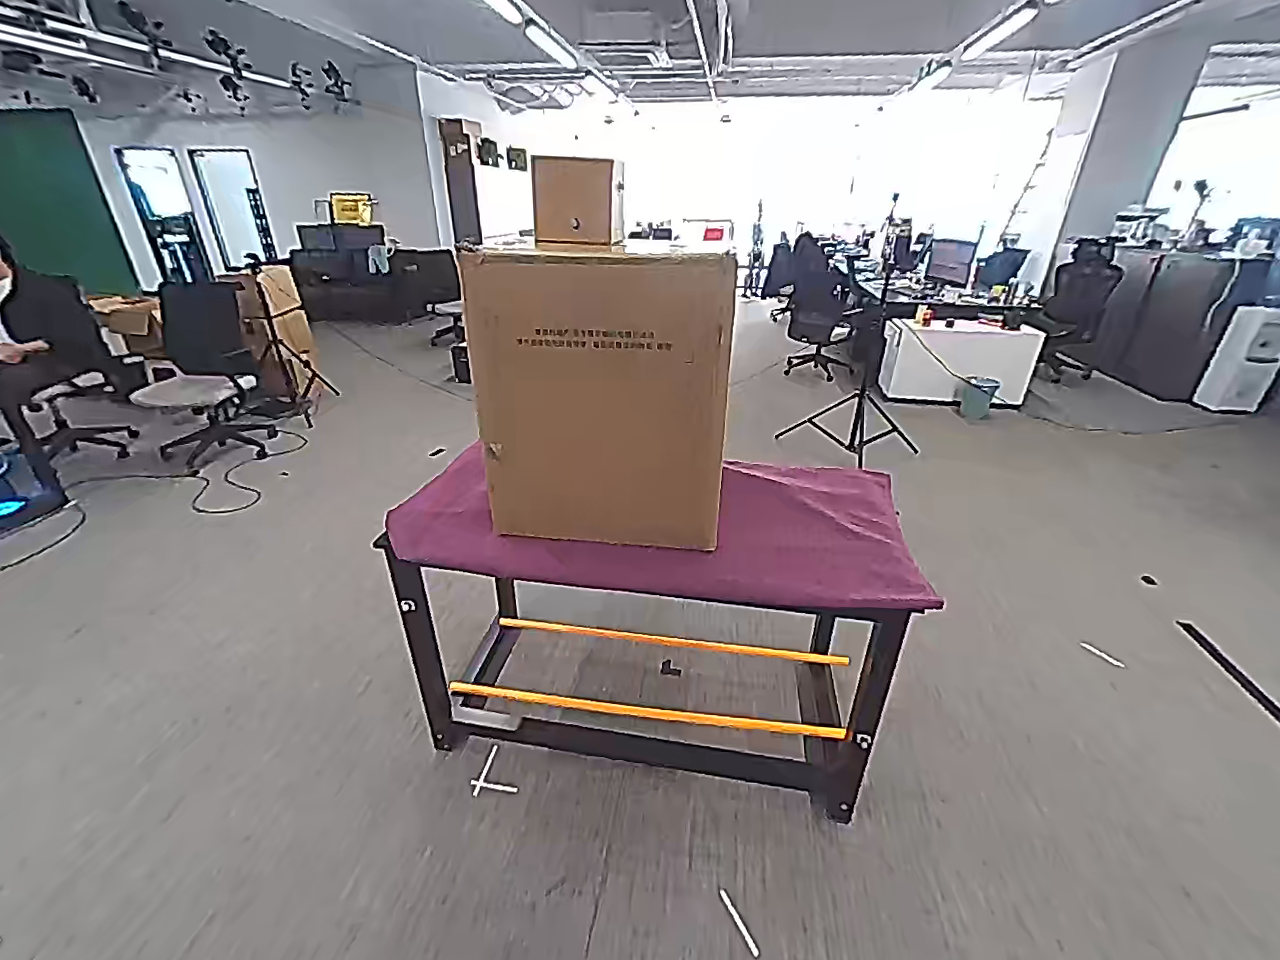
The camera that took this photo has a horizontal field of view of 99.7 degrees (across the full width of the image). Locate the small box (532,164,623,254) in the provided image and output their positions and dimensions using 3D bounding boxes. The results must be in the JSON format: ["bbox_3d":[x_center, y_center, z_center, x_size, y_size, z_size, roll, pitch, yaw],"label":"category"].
[{"bbox_3d":[-0.137,-0.607,1.216,0.179,0.176,0.168,5,27,8],"label":"small box"}]
